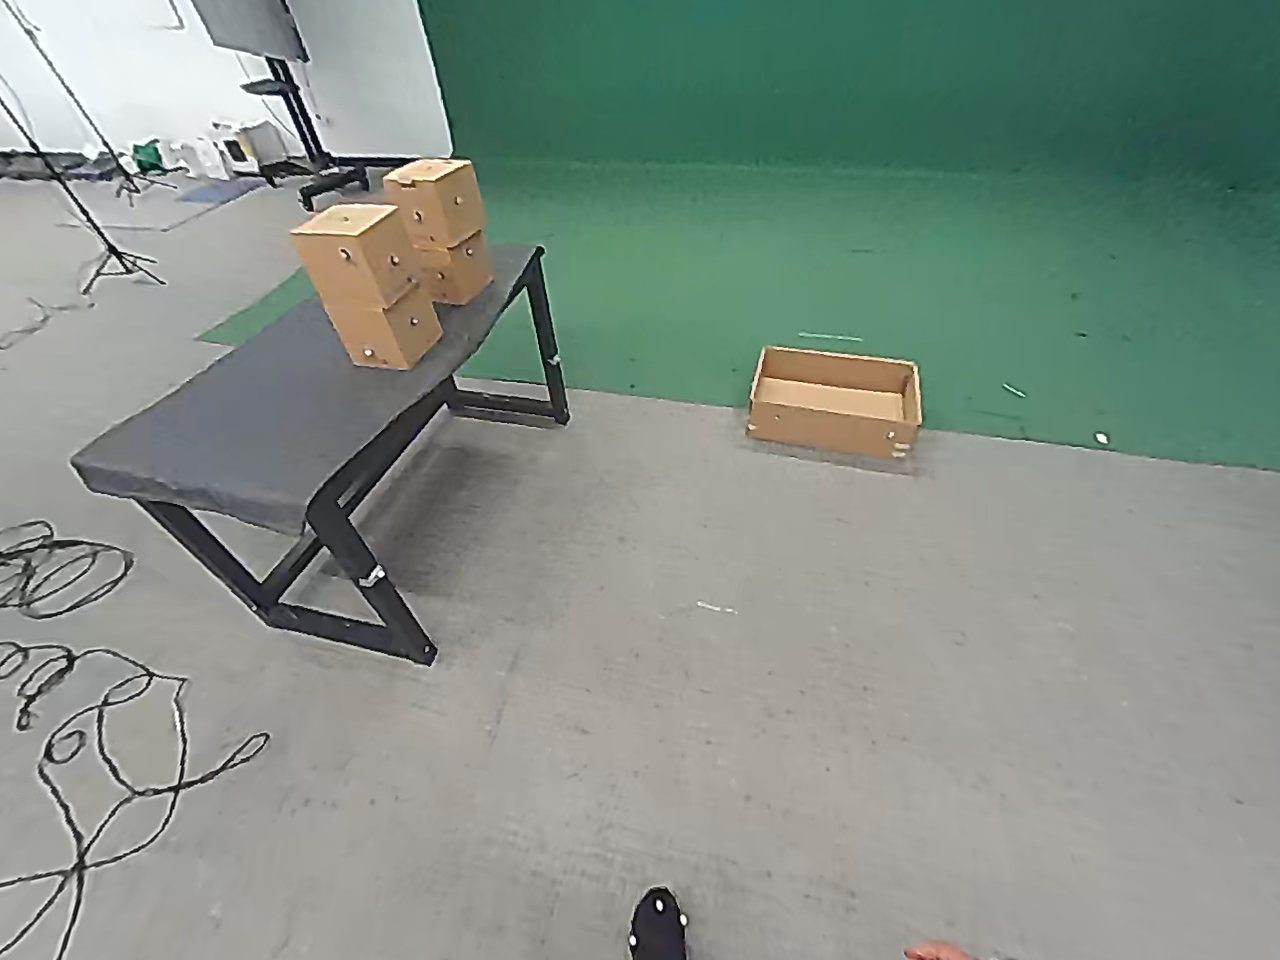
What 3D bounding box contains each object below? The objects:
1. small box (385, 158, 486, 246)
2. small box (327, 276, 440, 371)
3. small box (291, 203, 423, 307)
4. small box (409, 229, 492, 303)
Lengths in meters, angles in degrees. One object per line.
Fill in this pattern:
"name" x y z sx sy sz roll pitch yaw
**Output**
"small box" -0.547 -0.758 1.474 0.168 0.176 0.179 14 48 17
"small box" -0.628 -0.399 1.355 0.168 0.176 0.179 8 48 14
"small box" -0.632 -0.511 1.234 0.179 0.176 0.168 7 47 13
"small box" -0.557 -0.637 1.587 0.168 0.176 0.179 12 47 15
